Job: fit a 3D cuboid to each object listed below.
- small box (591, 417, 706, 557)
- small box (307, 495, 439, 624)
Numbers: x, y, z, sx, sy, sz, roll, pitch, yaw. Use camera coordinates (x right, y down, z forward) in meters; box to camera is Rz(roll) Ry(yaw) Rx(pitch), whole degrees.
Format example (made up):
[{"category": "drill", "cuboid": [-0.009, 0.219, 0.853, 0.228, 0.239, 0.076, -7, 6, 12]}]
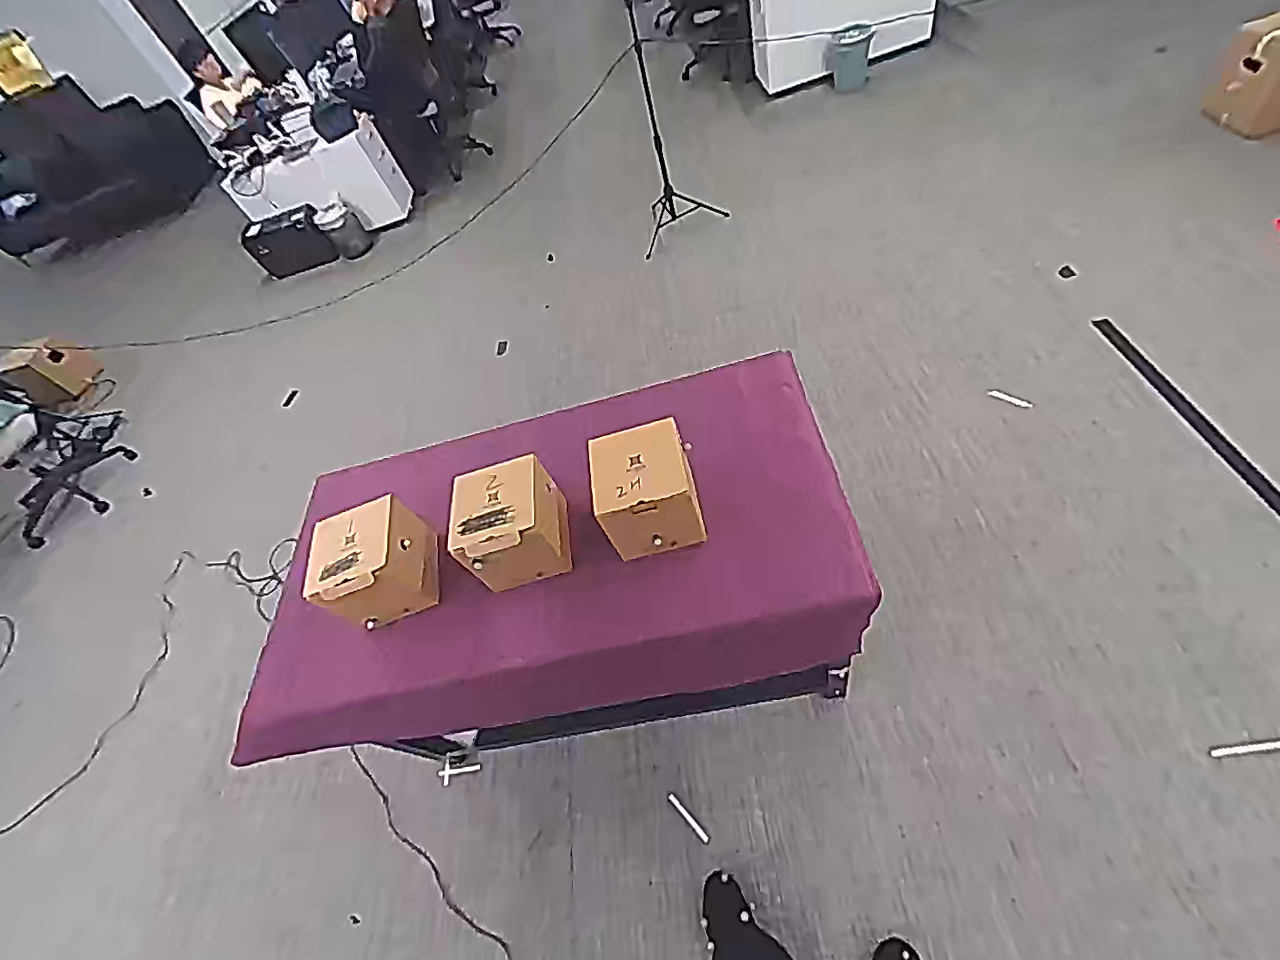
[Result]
[{"category": "small box", "cuboid": [0.016, 0.017, 0.997, 0.168, 0.176, 0.179, -15, 53, 9]}, {"category": "small box", "cuboid": [-0.516, 0.166, 1.070, 0.168, 0.176, 0.179, -21, 51, 3]}]
